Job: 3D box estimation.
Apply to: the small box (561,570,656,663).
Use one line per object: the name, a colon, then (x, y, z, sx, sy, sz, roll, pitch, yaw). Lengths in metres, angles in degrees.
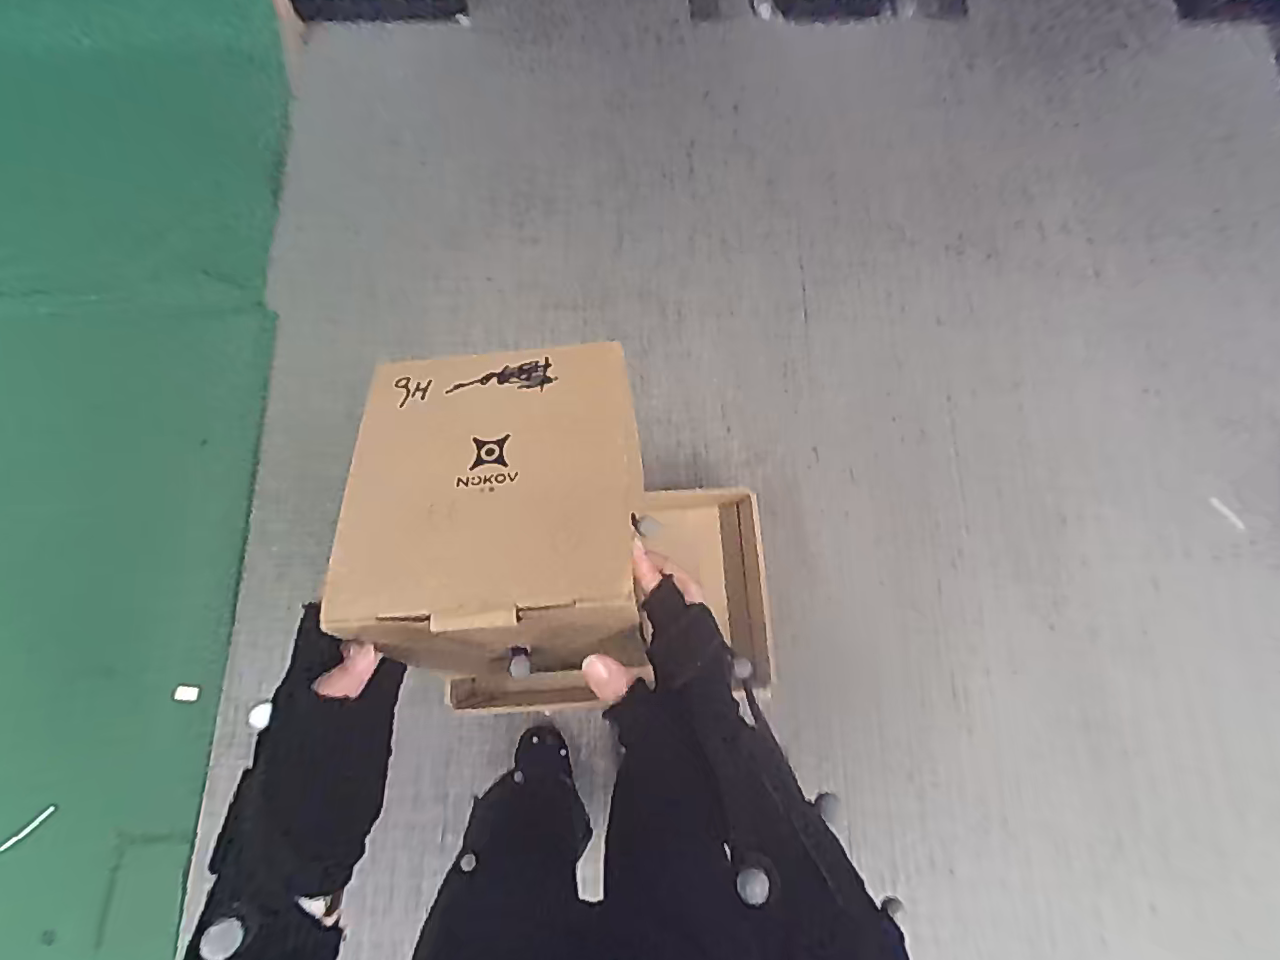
small box: (-0.063, 0.272, 1.094, 0.179, 0.176, 0.168, -3, 77, -2)
